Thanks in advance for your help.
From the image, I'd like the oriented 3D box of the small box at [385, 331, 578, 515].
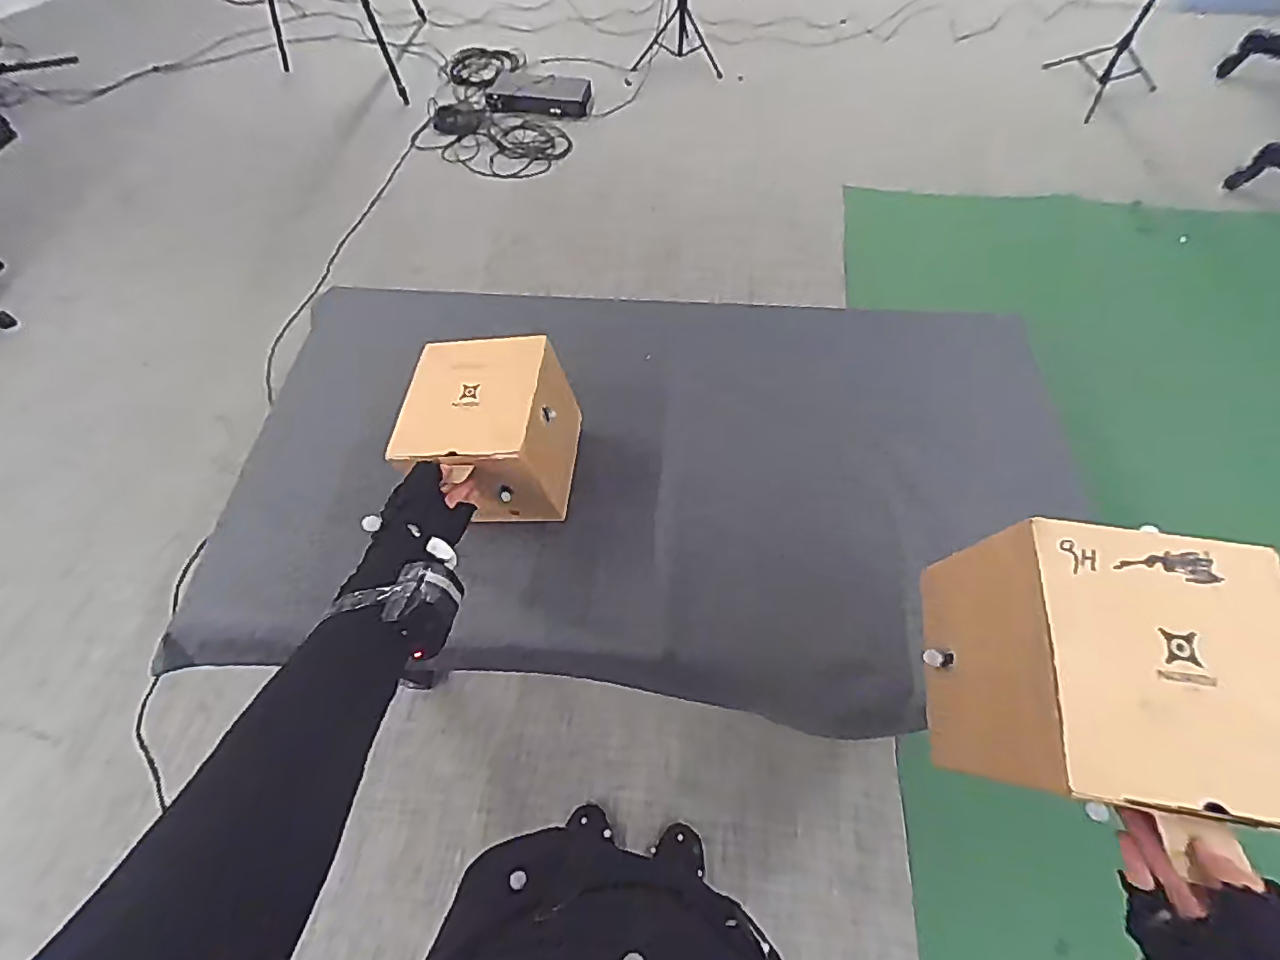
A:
[{"bbox_3d":[-0.186,-0.063,0.696,0.168,0.176,0.179,-2,59,11],"label":"small box"}]
